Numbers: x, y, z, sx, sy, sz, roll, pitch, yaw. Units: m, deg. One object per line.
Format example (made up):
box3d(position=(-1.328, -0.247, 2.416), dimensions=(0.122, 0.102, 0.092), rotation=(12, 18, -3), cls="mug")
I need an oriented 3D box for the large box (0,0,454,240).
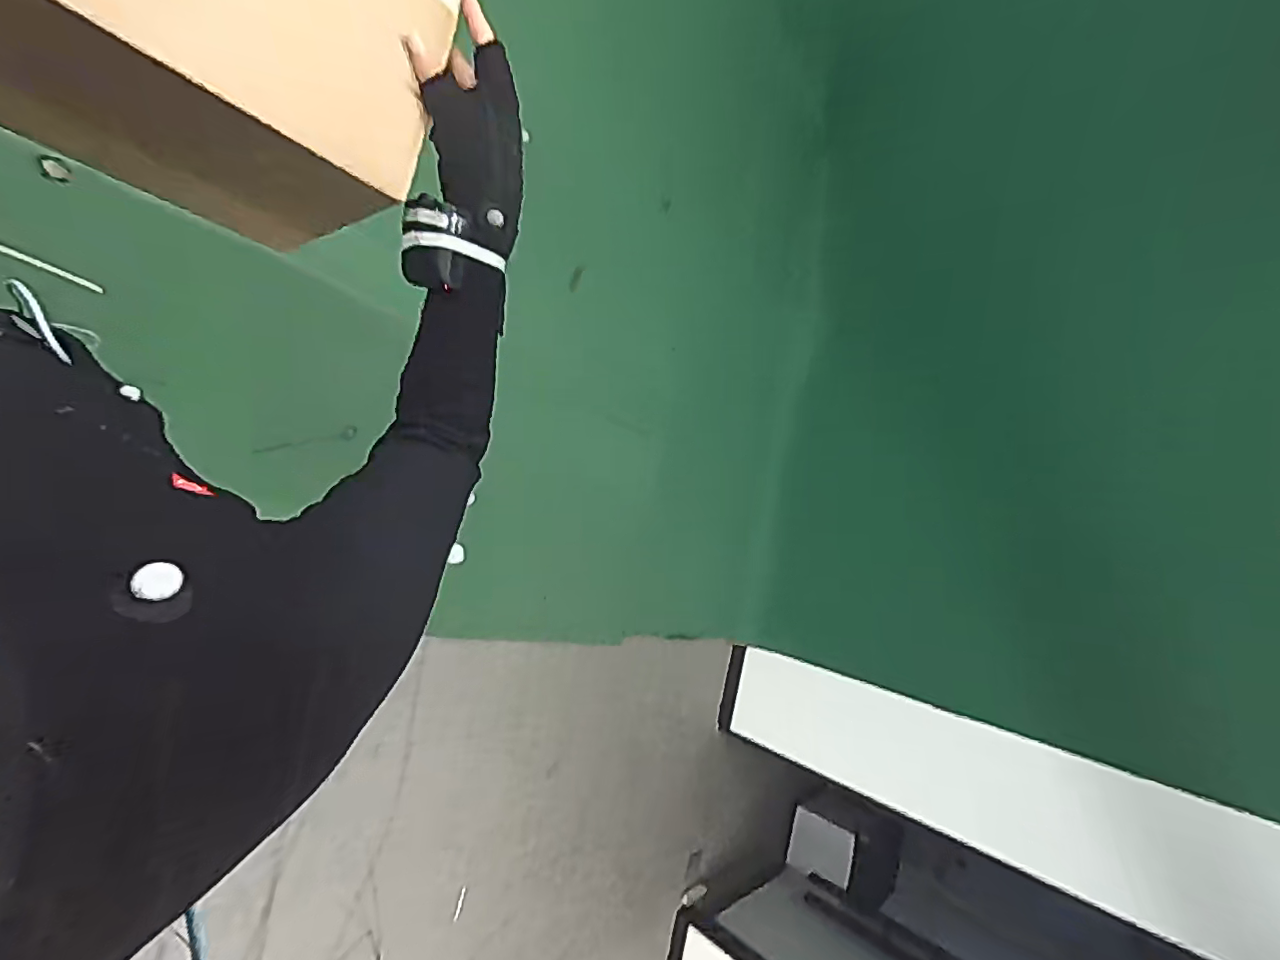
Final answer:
box3d(position=(-0.381, -0.425, 0.368), dimensions=(0.408, 0.320, 0.320), rotation=(16, 88, -48), cls="large box")
